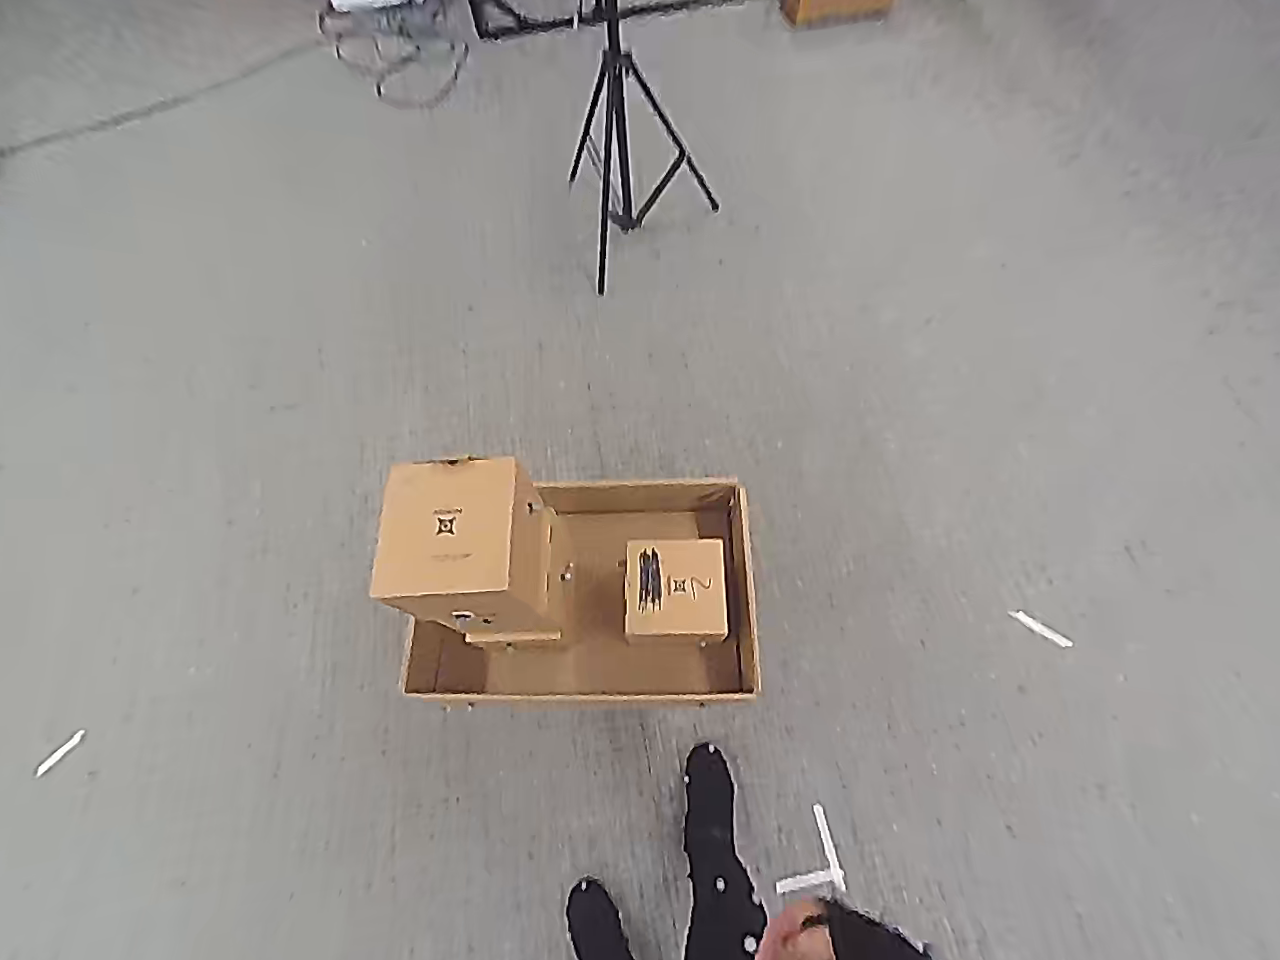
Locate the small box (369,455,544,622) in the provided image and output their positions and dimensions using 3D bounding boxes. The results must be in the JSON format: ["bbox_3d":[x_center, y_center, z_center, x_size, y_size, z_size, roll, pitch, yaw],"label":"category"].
[{"bbox_3d":[-0.228,0.084,0.723,0.168,0.176,0.179,-3,65,2],"label":"small box"}]

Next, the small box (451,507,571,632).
[{"bbox_3d":[-0.216,0.150,0.873,0.179,0.176,0.168,-1,66,2],"label":"small box"}]

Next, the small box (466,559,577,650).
[{"bbox_3d":[-0.213,0.224,1.020,0.168,0.176,0.179,-2,66,1],"label":"small box"}]
